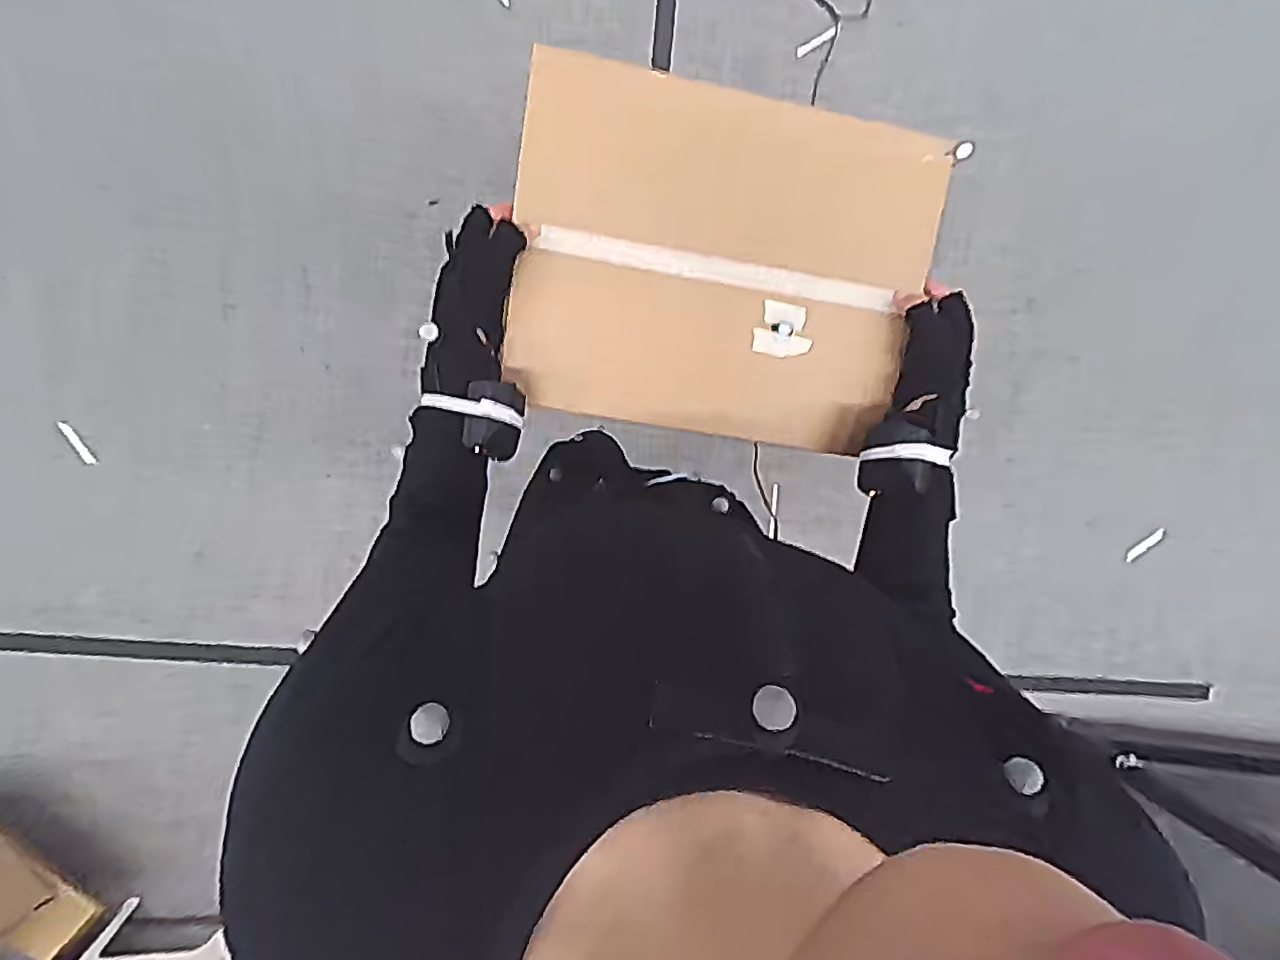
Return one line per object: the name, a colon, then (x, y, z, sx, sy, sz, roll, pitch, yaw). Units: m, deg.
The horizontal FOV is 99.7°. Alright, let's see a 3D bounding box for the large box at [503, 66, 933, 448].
large box: (0.061, -0.231, 0.681, 0.408, 0.320, 0.320, 7, 100, -7)
